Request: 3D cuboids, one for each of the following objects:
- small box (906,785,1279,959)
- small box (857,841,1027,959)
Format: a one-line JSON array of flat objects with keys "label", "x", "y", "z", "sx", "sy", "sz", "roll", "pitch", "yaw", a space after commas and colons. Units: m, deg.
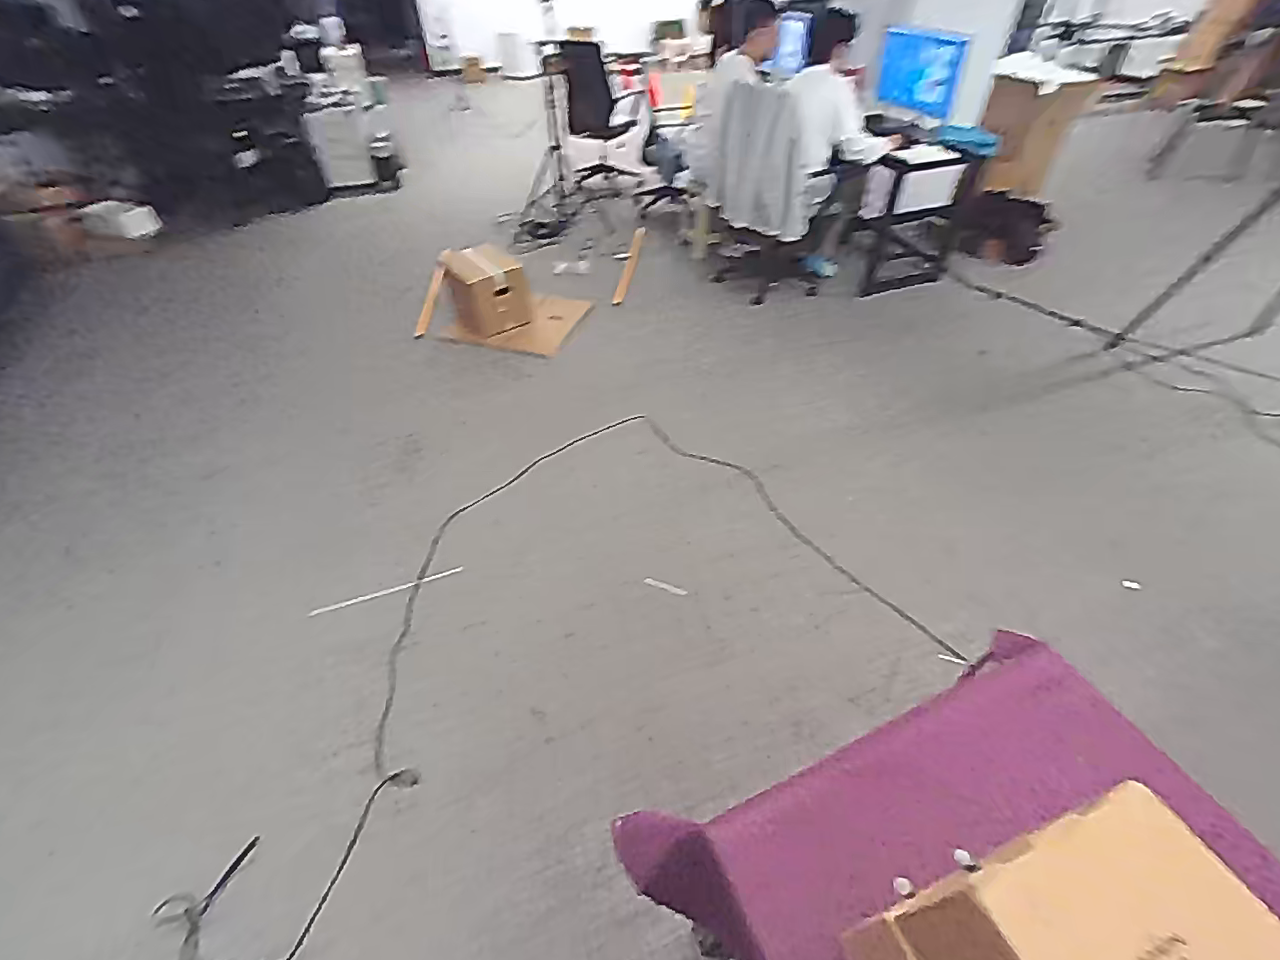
[{"label": "small box", "x": 0.325, "y": 0.356, "z": 0.375, "sx": 0.168, "sy": 0.176, "sz": 0.179, "roll": -17, "pitch": 47, "yaw": -14}, {"label": "small box", "x": 0.324, "y": 0.469, "z": 0.493, "sx": 0.179, "sy": 0.176, "sz": 0.168, "roll": -15, "pitch": 47, "yaw": -14}]
